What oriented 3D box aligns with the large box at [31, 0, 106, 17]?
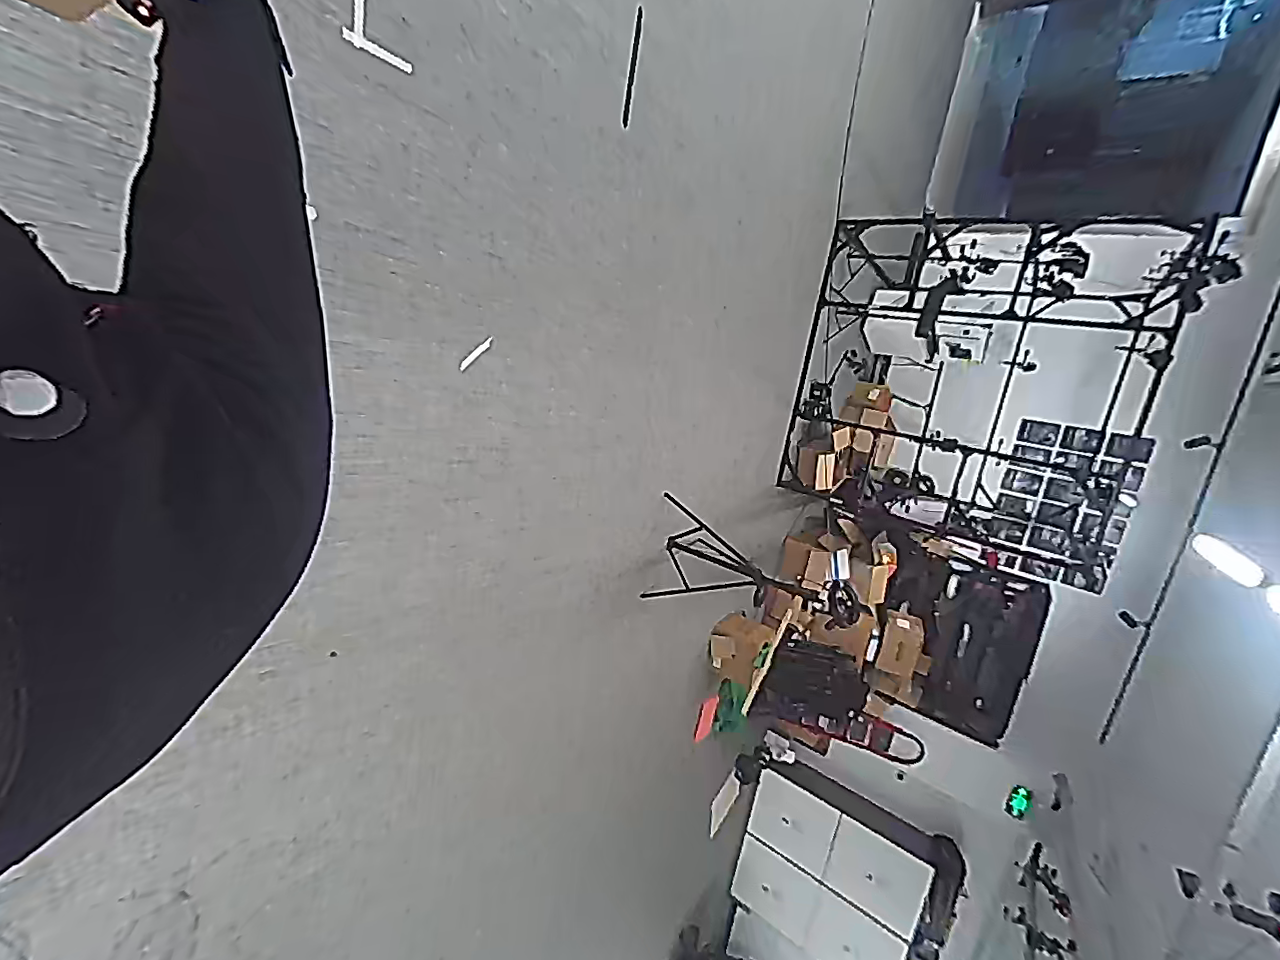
[{"bbox_3d":[-0.538,-0.549,0.276,0.408,0.320,0.320,-5,114,-54],"label":"large box"}]
